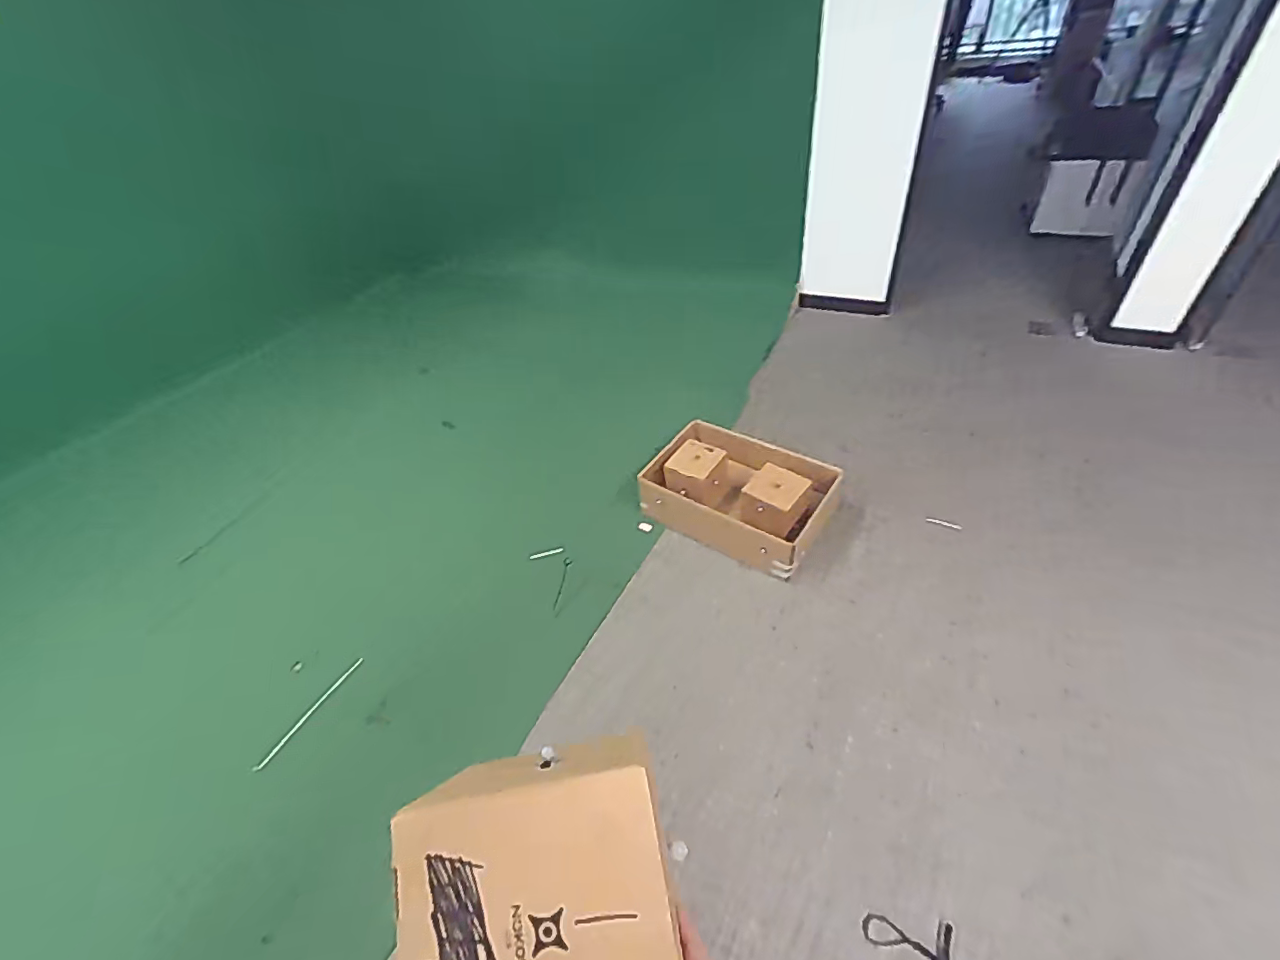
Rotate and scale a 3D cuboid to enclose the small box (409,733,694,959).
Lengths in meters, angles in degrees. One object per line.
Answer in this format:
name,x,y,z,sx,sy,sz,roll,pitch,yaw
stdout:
small box,-0.057,0.308,0.422,0.179,0.176,0.168,-10,72,-3
